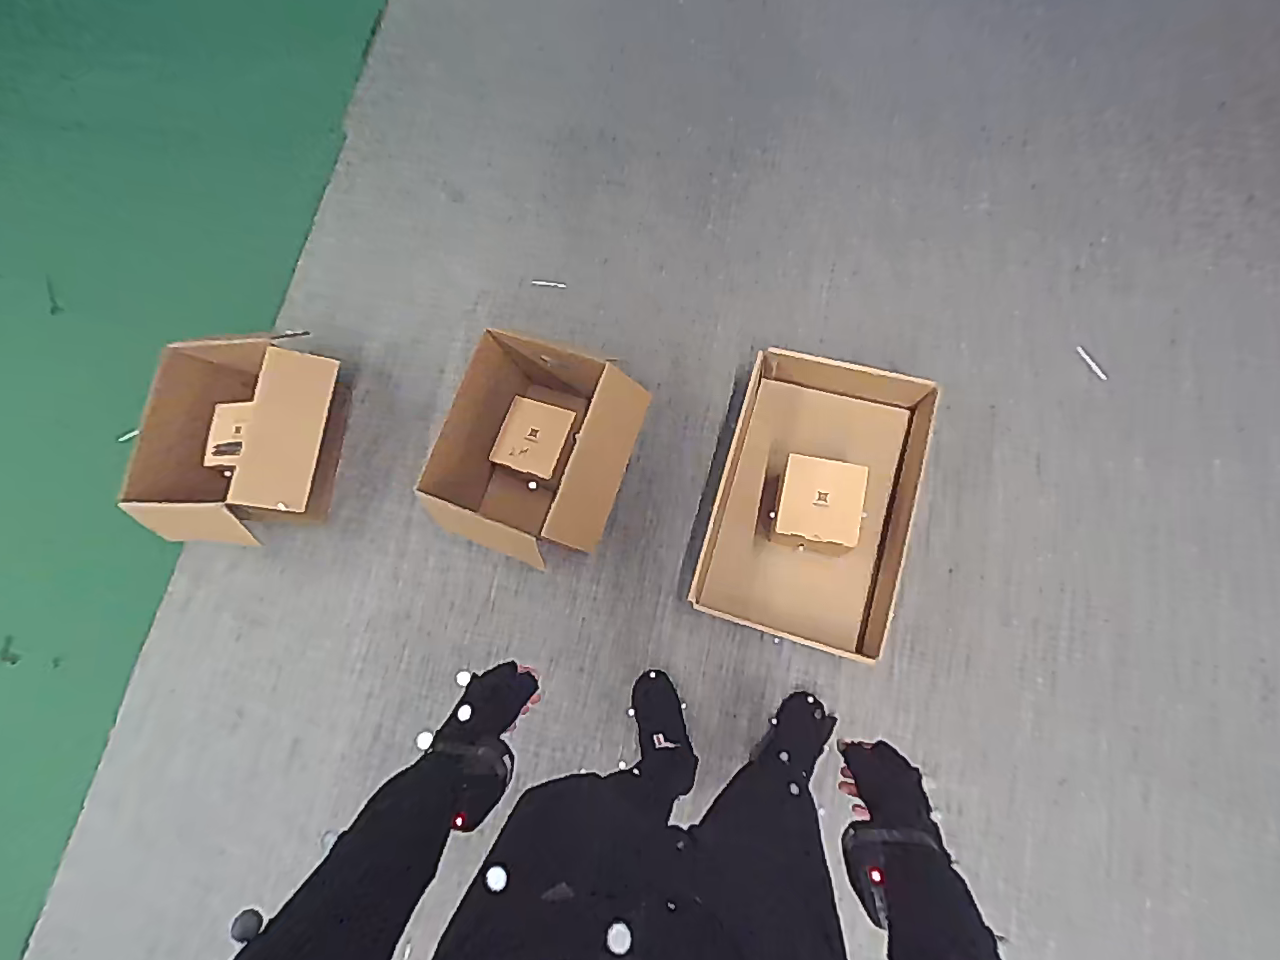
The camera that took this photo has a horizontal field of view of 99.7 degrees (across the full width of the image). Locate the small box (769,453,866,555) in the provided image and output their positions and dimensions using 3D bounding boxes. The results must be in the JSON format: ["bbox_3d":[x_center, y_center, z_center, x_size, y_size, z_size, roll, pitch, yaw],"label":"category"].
[{"bbox_3d":[0.384,0.058,1.197,0.168,0.176,0.179,11,78,11],"label":"small box"}]
